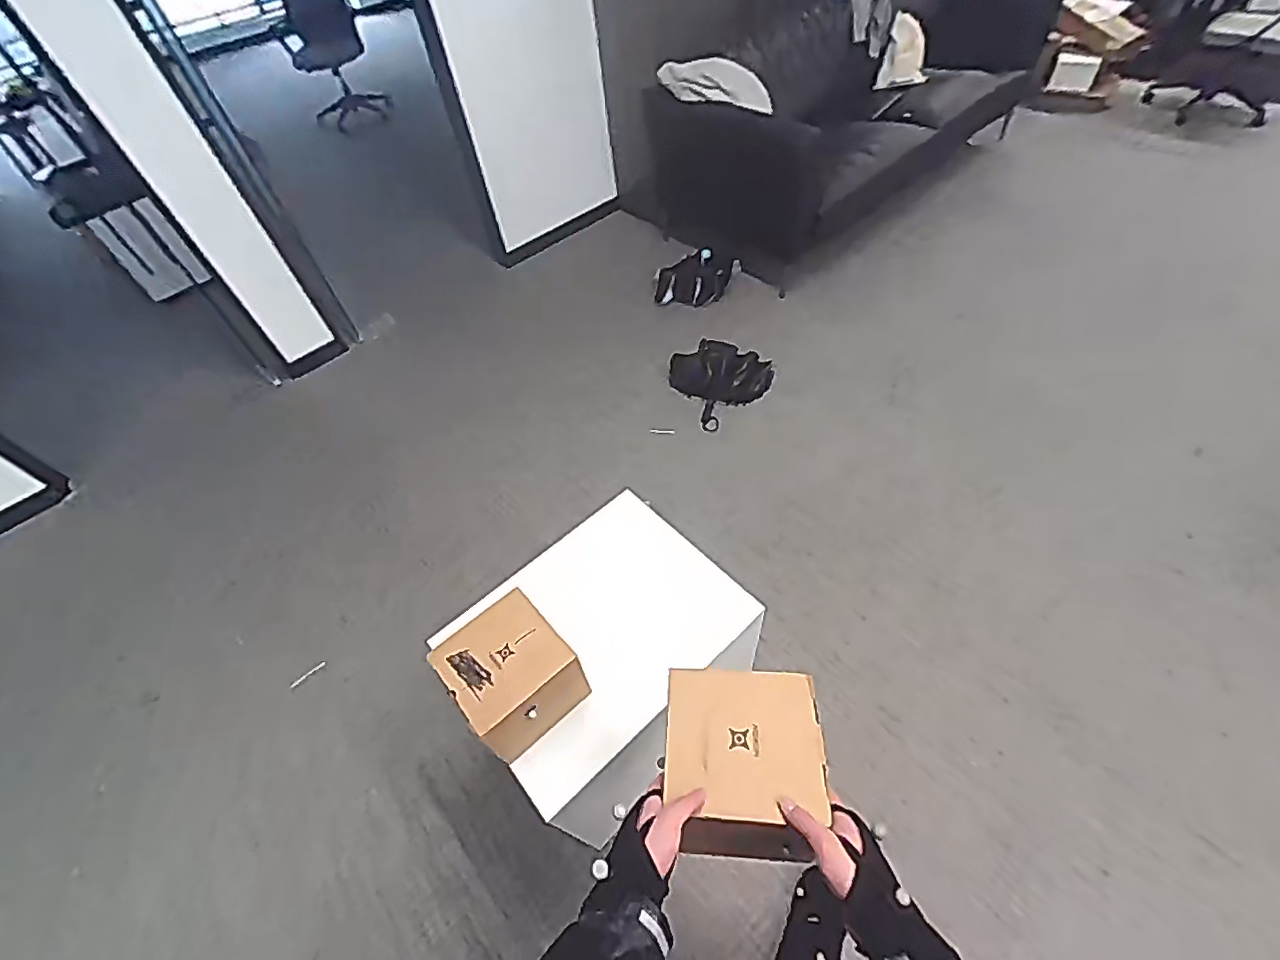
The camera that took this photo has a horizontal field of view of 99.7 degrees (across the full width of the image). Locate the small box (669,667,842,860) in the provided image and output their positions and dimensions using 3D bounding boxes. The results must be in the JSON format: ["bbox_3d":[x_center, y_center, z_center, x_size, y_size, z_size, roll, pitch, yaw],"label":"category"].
[{"bbox_3d":[0.127,0.345,0.658,0.179,0.176,0.168,-1,44,6],"label":"small box"}]

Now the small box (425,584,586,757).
[{"bbox_3d":[-0.205,0.310,0.871,0.179,0.176,0.168,-35,58,-23],"label":"small box"}]
